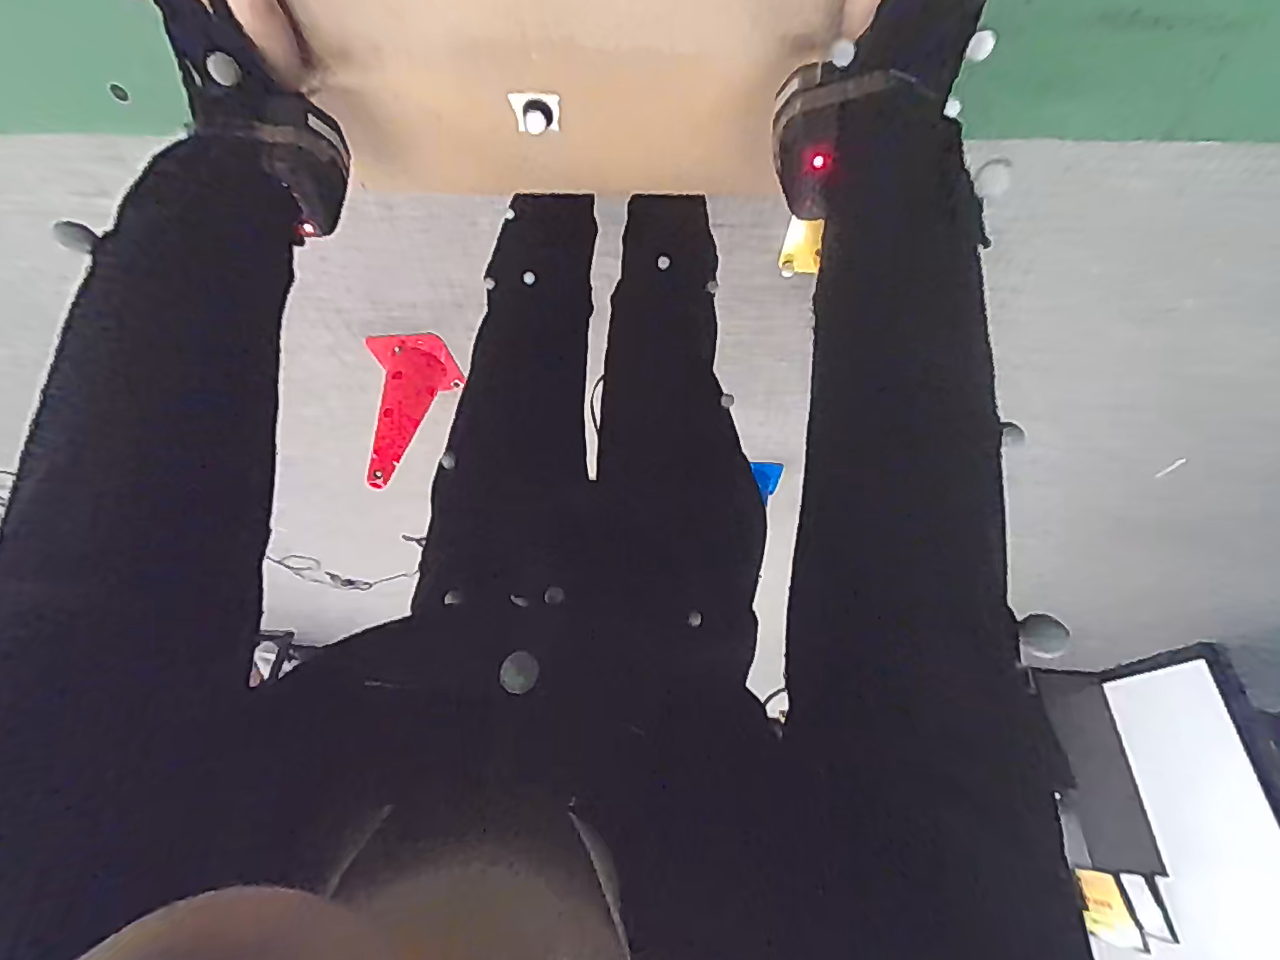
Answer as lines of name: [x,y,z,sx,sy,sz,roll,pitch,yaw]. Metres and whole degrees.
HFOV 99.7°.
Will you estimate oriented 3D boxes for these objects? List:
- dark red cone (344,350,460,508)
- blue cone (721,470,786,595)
dark red cone: [-0.582,-0.110,1.246,0.202,0.394,0.201,-1,146,10]
blue cone: [0.345,0.159,1.629,0.192,0.380,0.193,3,150,3]
